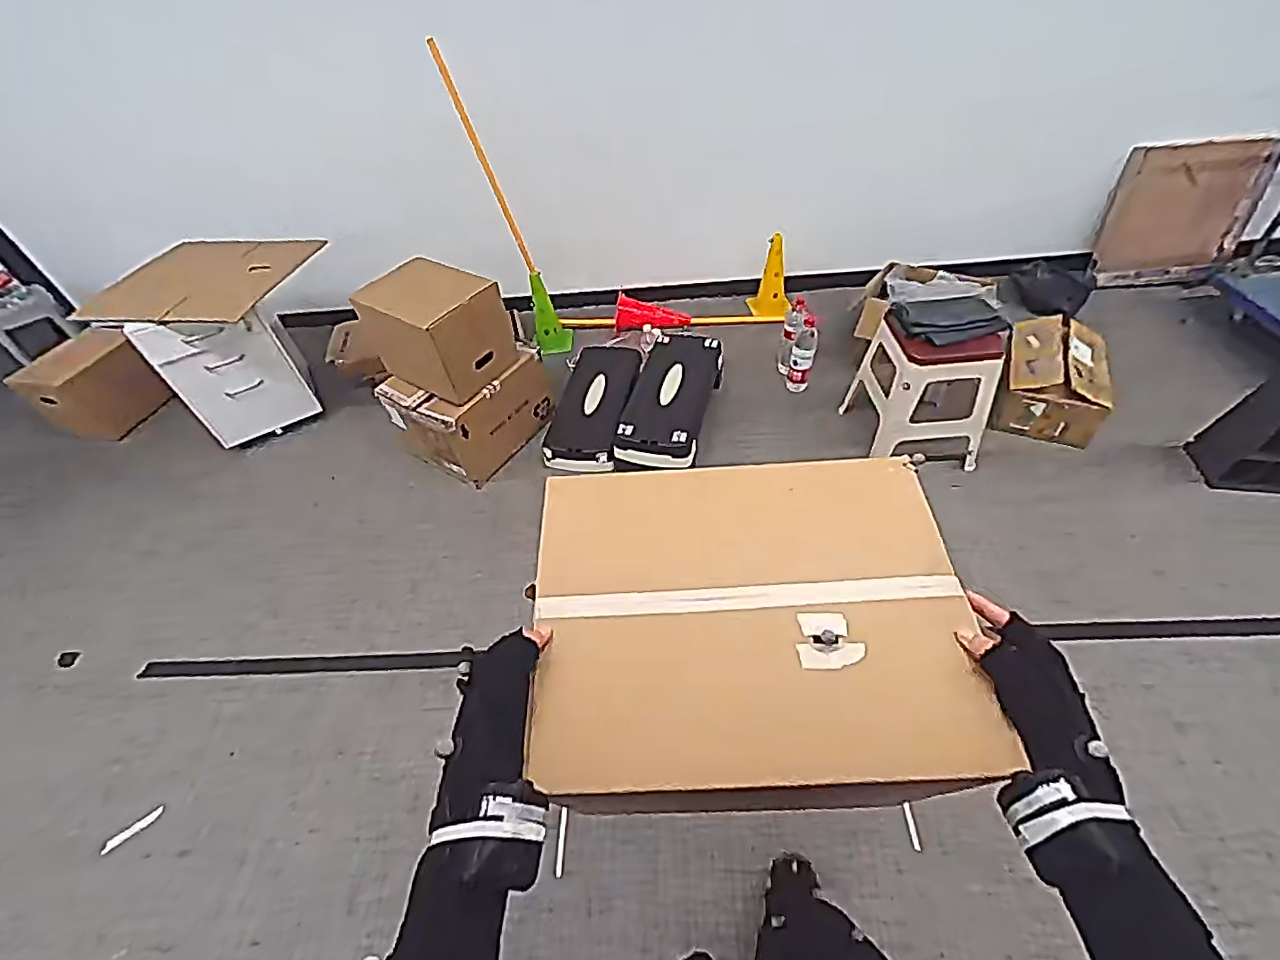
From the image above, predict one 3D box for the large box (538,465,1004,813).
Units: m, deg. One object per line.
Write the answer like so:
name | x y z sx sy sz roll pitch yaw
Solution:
large box | 0.109 0.206 0.660 0.408 0.320 0.320 -3 56 2
